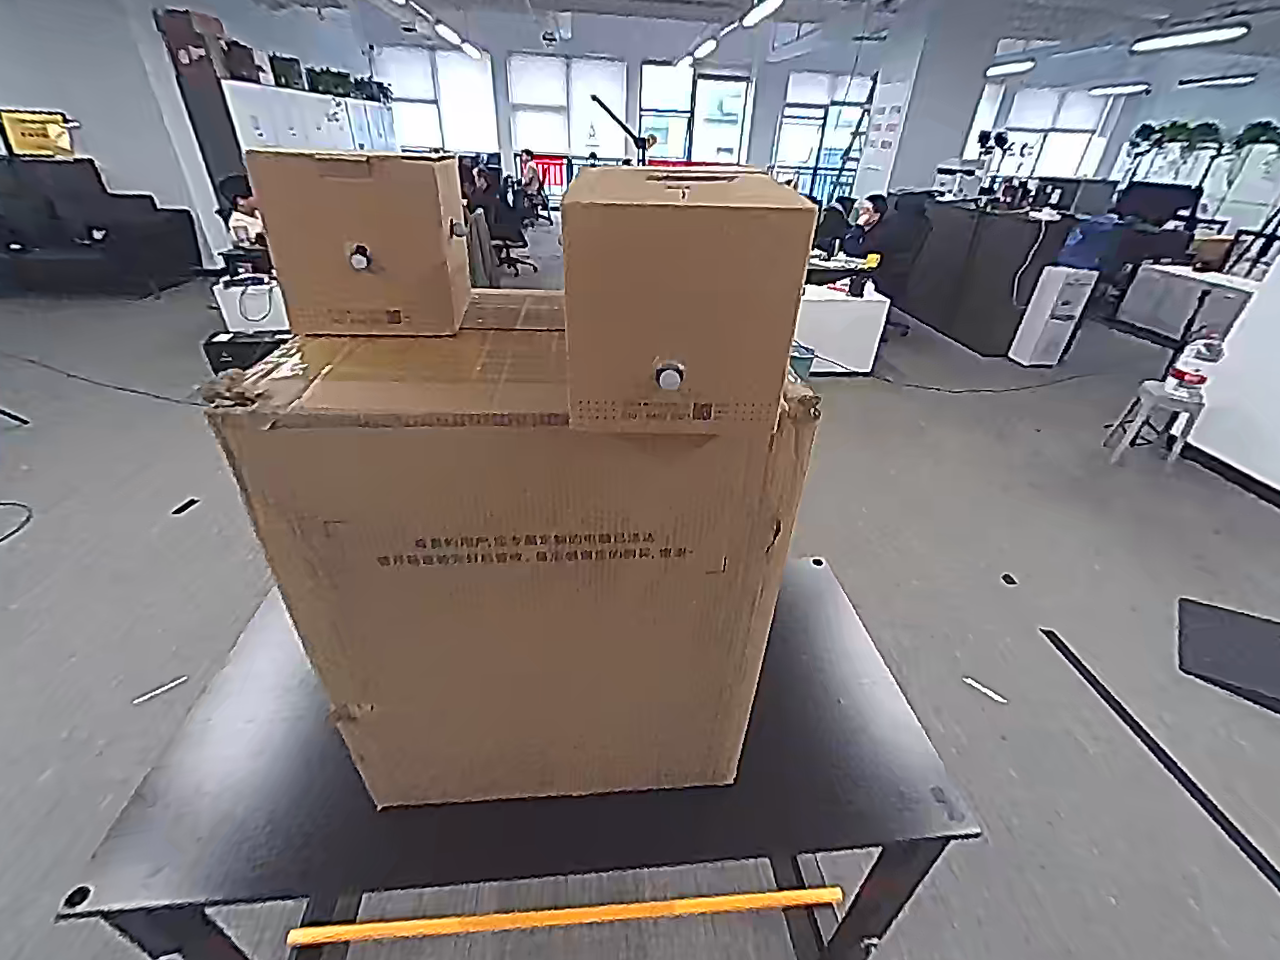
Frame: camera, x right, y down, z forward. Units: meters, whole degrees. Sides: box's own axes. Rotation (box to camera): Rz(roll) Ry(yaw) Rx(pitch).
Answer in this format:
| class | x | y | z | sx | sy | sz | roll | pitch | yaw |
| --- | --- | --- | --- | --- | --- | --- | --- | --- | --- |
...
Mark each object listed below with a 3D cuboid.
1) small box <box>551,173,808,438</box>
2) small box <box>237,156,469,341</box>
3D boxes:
| class | x | y | z | sx | sy | sz | roll | pitch | yaw |
| --- | --- | --- | --- | --- | --- | --- | --- | --- | --- |
| small box | 0.025 | -0.151 | 0.453 | 0.168 | 0.176 | 0.179 | 0 | 36 | 1 |
| small box | -0.293 | -0.259 | 0.602 | 0.168 | 0.176 | 0.179 | -3 | 32 | -8 |
